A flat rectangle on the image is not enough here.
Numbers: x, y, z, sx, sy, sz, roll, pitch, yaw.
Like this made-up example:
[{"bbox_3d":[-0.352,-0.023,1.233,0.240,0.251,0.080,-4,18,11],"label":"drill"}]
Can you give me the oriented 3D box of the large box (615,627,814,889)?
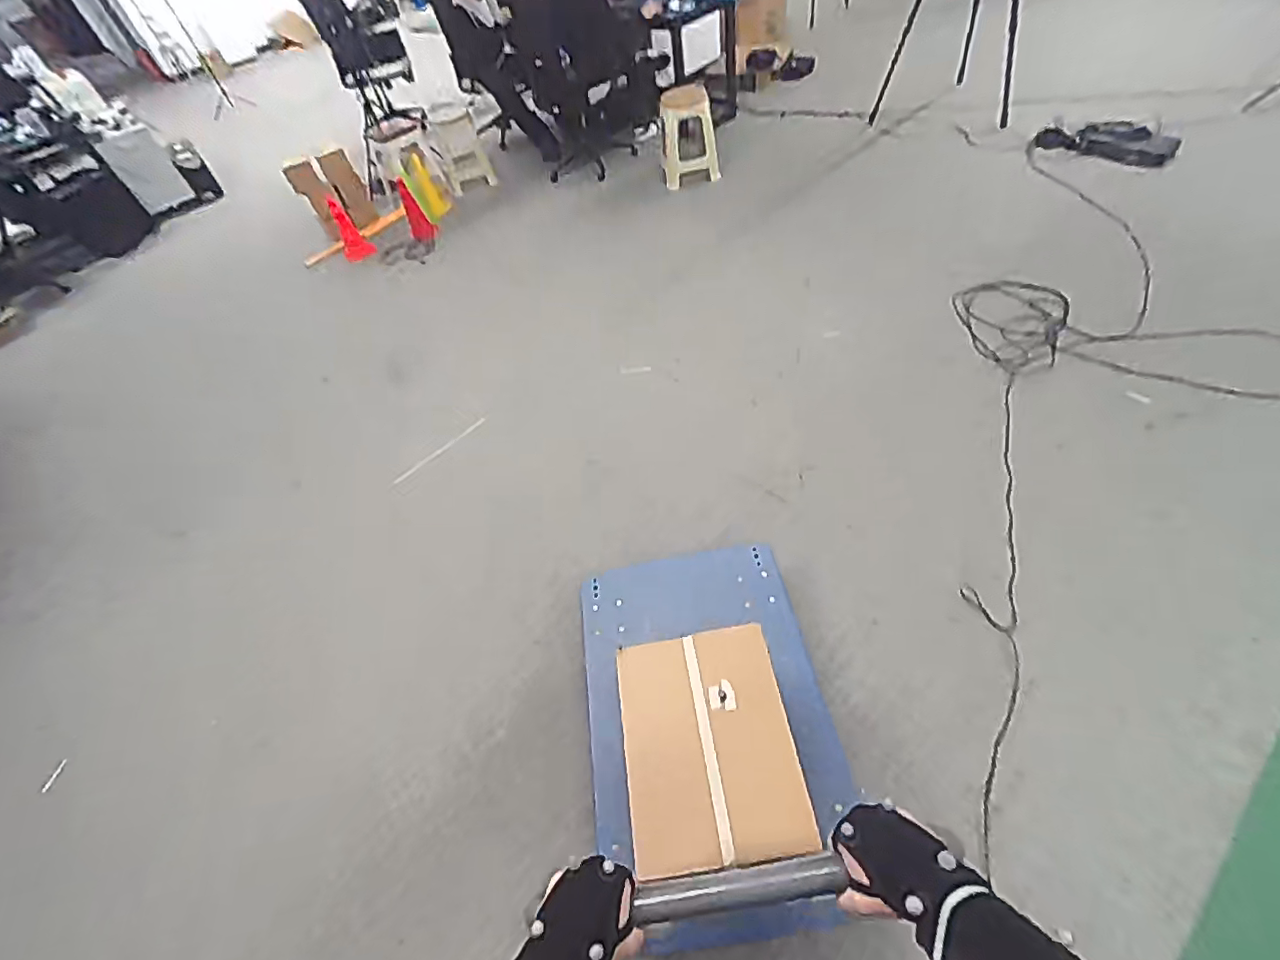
[{"bbox_3d":[0.145,0.586,1.147,0.320,0.320,0.408,-11,49,2],"label":"large box"}]
